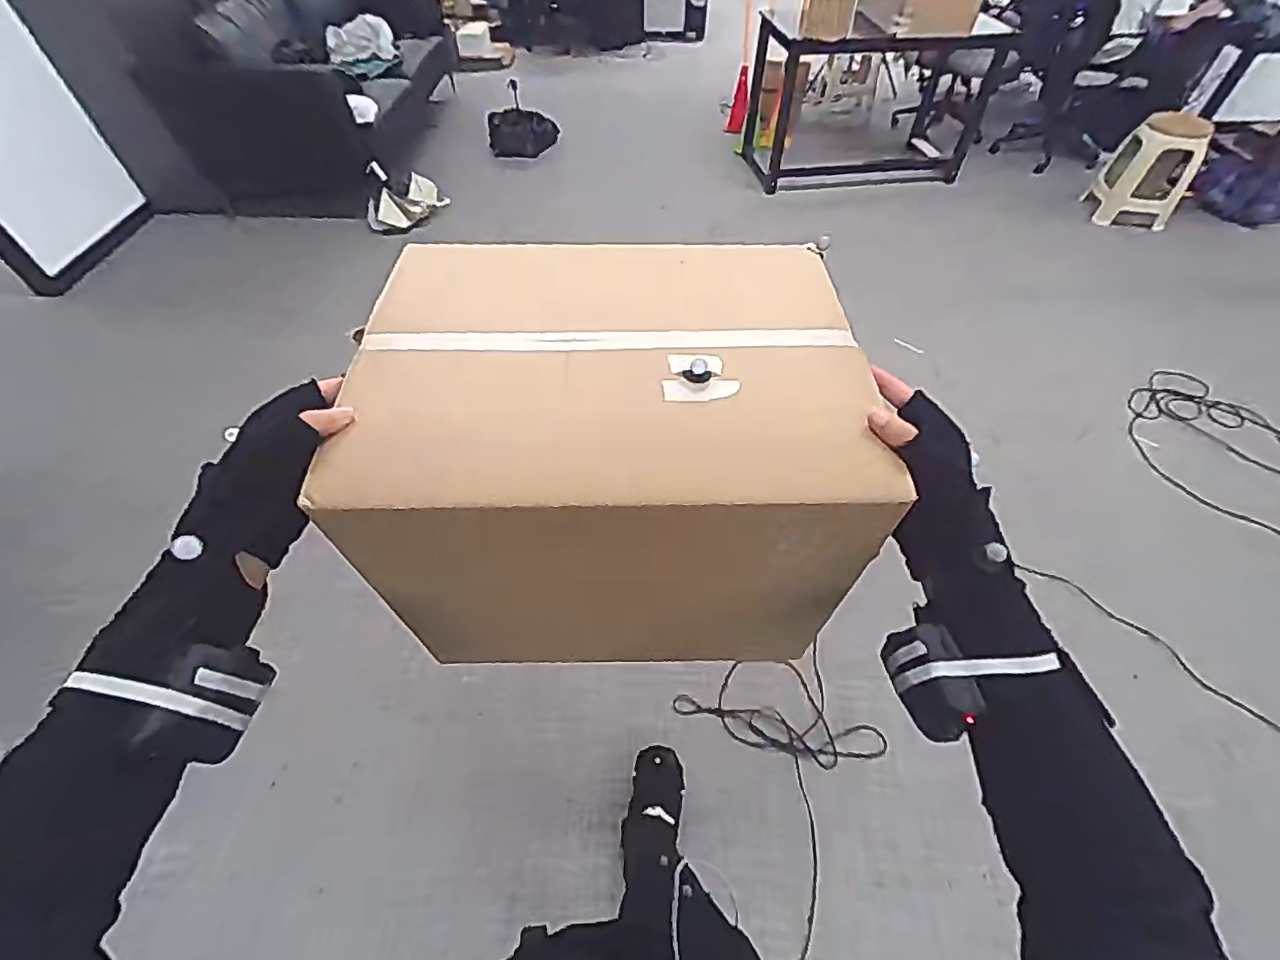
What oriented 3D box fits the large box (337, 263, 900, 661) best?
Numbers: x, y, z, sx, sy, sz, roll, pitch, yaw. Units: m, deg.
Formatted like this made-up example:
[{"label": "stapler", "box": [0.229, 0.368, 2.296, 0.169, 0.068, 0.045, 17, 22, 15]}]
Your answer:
[{"label": "large box", "box": [-0.021, -0.012, 0.582, 0.408, 0.320, 0.320, 0, 53, -2]}]
